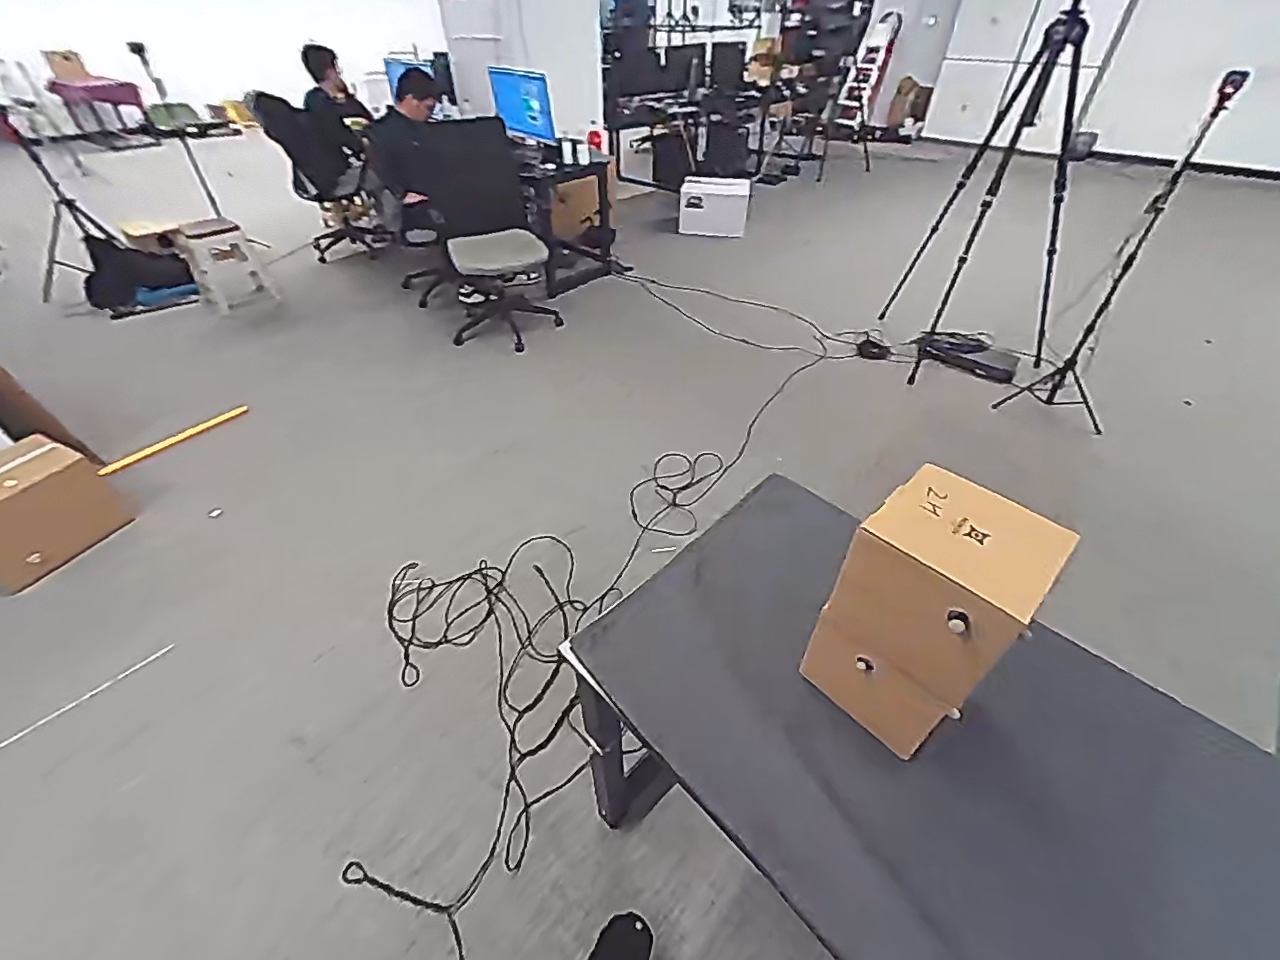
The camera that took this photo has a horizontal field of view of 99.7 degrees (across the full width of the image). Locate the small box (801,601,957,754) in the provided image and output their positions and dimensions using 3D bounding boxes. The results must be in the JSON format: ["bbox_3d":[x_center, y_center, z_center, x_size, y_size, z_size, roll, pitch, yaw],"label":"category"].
[{"bbox_3d":[0.355,0.244,0.768,0.168,0.176,0.179,-30,50,-31],"label":"small box"}]

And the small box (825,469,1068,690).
[{"bbox_3d":[0.357,0.123,0.655,0.168,0.176,0.179,-31,50,-32],"label":"small box"}]
